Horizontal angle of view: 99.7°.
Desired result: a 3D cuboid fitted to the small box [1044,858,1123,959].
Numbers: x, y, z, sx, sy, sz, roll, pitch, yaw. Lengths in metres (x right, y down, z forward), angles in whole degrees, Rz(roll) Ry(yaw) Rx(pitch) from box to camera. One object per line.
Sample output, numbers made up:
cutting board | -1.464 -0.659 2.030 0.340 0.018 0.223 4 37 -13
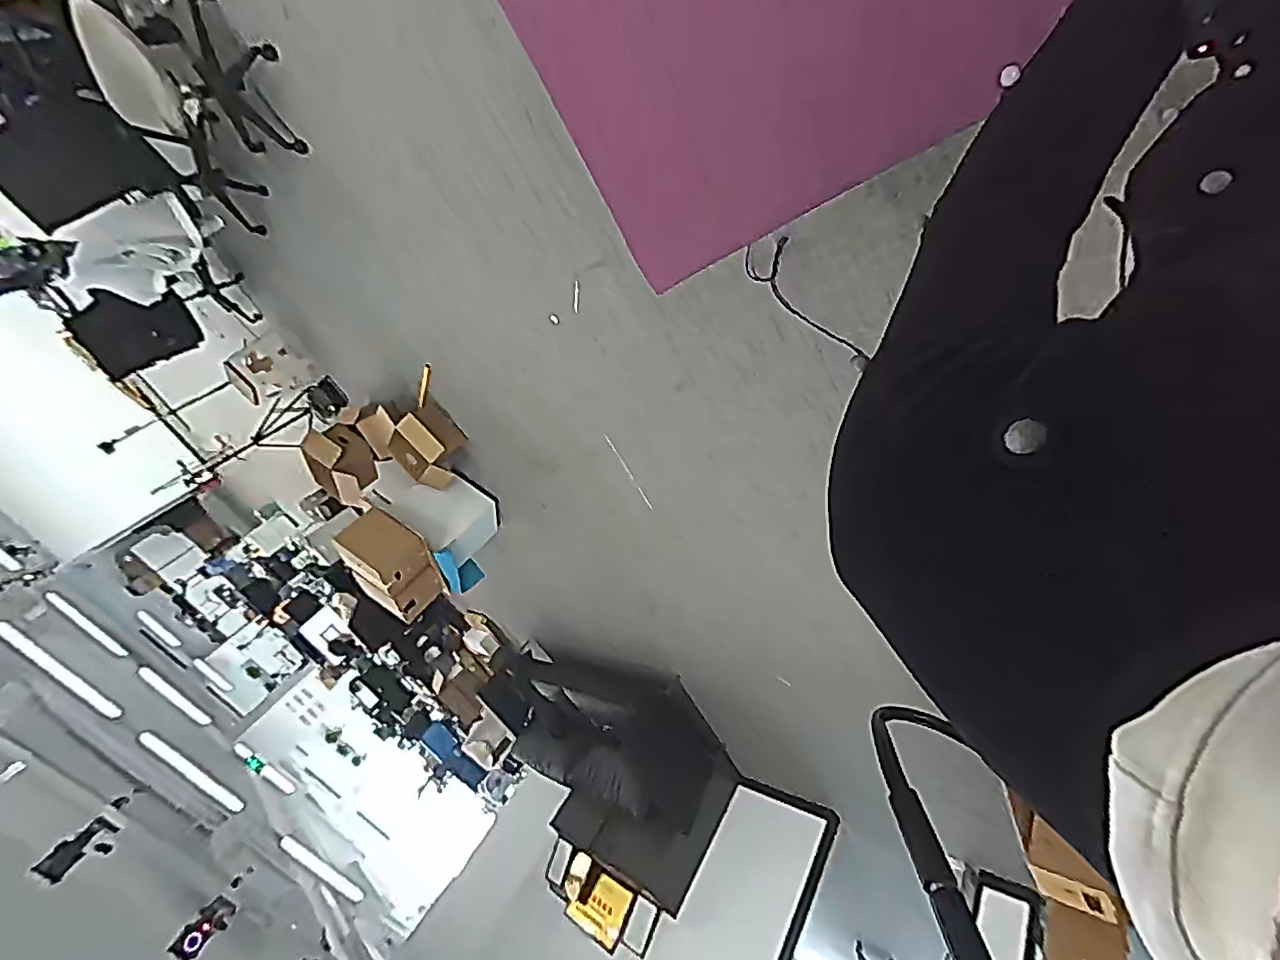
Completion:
small box | 1.335 1.289 1.628 0.179 0.176 0.168 -2 124 43

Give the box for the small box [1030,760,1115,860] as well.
small box | 1.293 0.975 1.615 0.179 0.176 0.168 -5 125 45

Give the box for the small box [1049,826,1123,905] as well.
small box | 1.424 1.189 1.722 0.179 0.176 0.168 1 127 43

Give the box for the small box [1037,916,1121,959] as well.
small box | 1.245 1.388 1.531 0.179 0.176 0.168 -3 124 43
